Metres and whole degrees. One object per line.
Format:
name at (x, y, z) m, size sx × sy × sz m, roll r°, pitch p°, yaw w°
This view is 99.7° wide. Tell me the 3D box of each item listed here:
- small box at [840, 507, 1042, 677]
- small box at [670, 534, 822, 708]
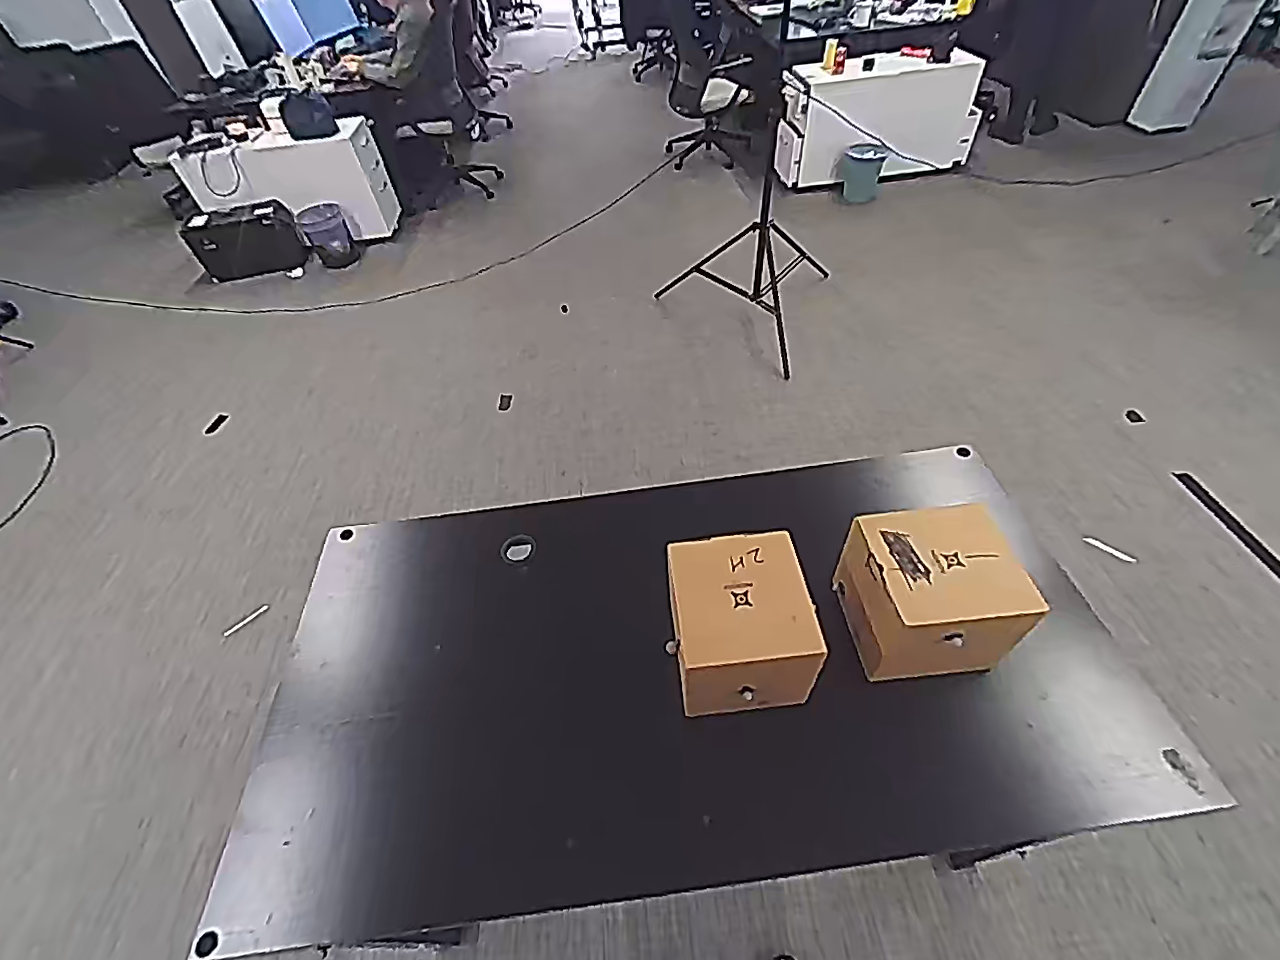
small box at (0.392, 0.159, 0.750) m, size 0.179 × 0.176 × 0.168 m, roll -6°, pitch 48°, yaw 0°
small box at (0.134, 0.199, 0.742) m, size 0.168 × 0.176 × 0.179 m, roll -6°, pitch 48°, yaw 0°
